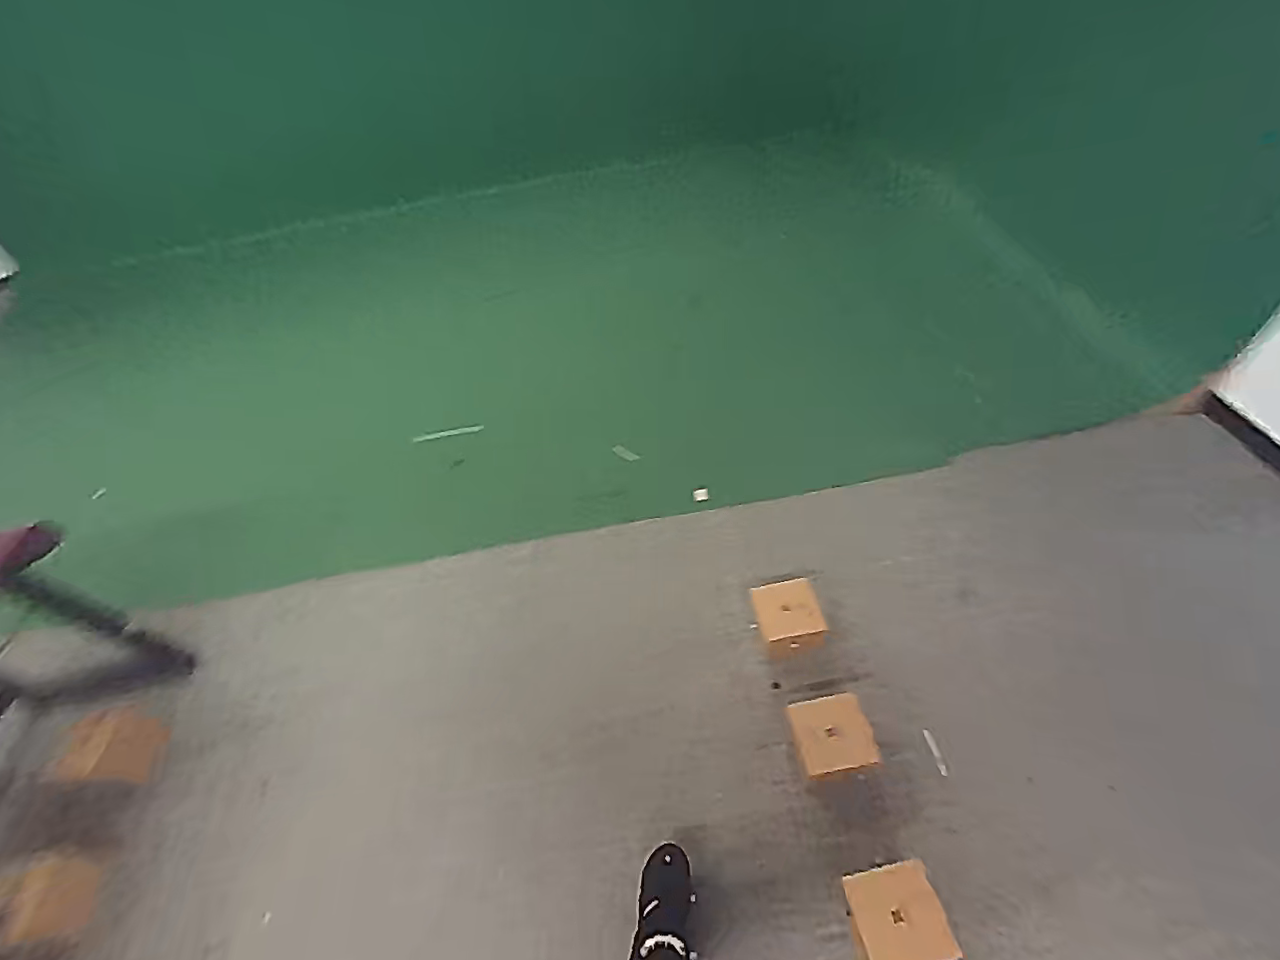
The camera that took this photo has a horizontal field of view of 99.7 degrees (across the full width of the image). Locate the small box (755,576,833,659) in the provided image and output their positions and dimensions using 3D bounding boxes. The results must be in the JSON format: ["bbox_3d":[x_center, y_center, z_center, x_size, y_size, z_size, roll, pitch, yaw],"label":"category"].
[{"bbox_3d":[0.438,0.403,1.566,0.179,0.176,0.168,-11,51,1],"label":"small box"}]

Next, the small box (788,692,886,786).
[{"bbox_3d":[0.485,0.653,1.359,0.179,0.176,0.168,-11,50,2],"label":"small box"}]

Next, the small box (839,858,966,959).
[{"bbox_3d":[0.534,0.918,1.136,0.179,0.176,0.168,-13,50,-1],"label":"small box"}]
